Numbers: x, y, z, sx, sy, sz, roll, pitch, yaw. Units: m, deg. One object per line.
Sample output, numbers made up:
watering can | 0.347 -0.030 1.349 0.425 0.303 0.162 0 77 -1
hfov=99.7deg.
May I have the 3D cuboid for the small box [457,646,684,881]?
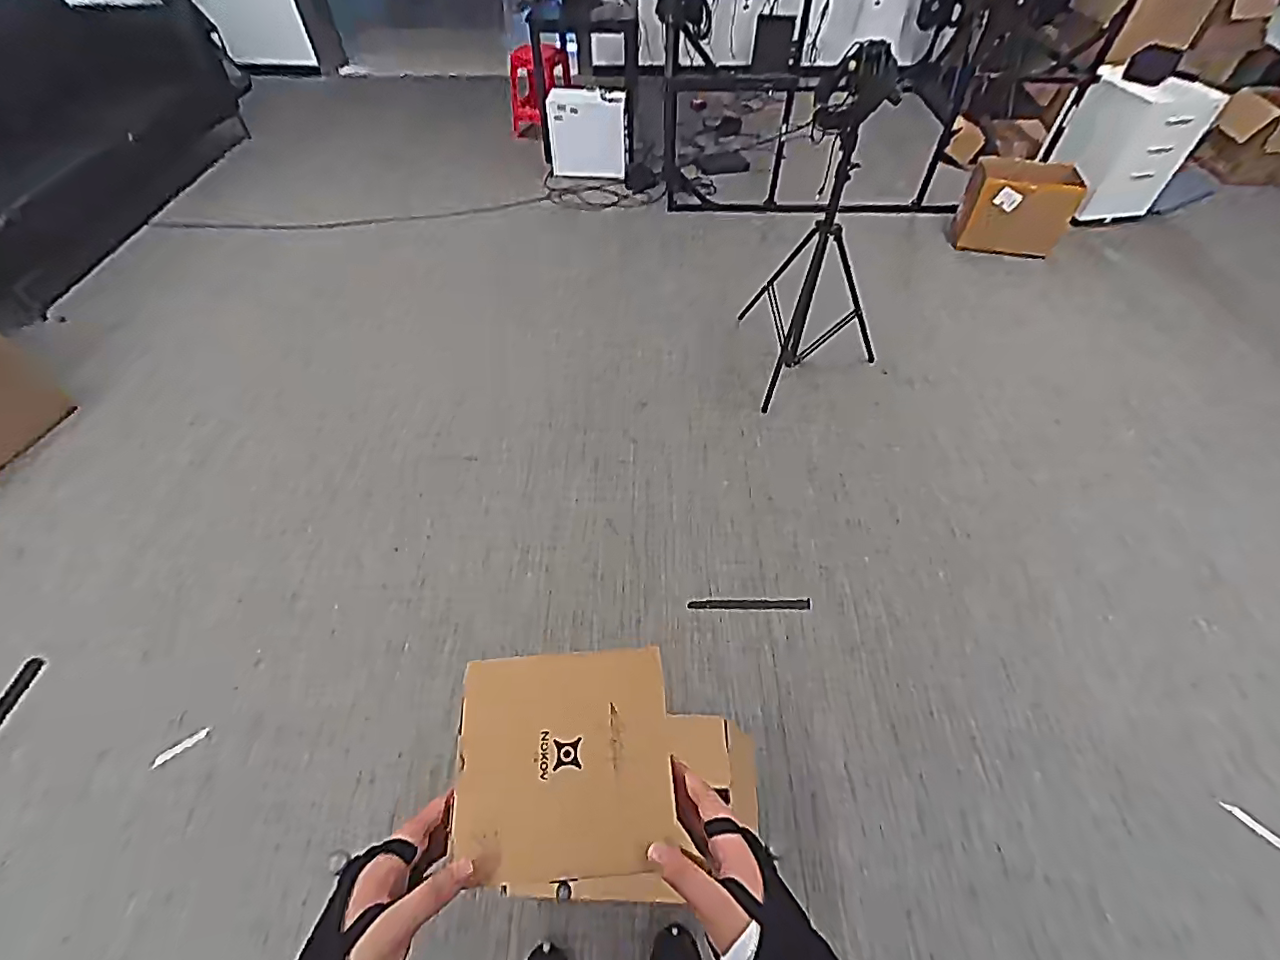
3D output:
small box | -0.057 0.271 0.516 0.179 0.176 0.168 -5 57 -3
